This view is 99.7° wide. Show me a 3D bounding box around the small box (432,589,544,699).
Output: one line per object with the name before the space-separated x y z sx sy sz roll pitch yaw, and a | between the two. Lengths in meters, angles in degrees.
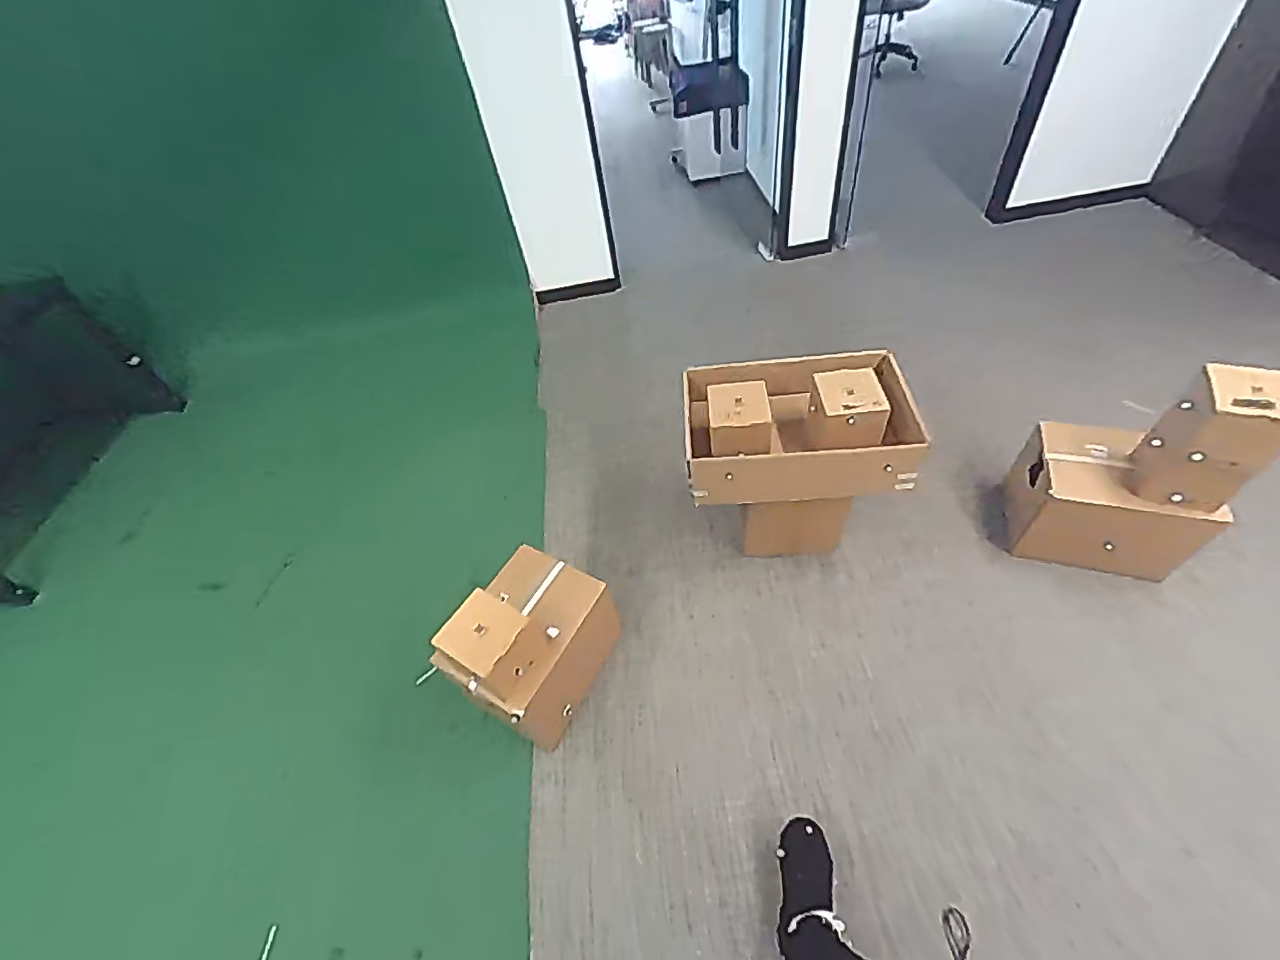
small box | -0.361 0.402 1.315 0.179 0.176 0.168 22 55 24

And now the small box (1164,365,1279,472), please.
small box | 1.396 -0.143 1.279 0.168 0.176 0.179 15 54 22

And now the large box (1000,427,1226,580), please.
large box | 1.384 0.070 1.641 0.408 0.320 0.320 9 51 17

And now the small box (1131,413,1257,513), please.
small box | 1.424 -0.043 1.406 0.168 0.176 0.179 14 55 21
